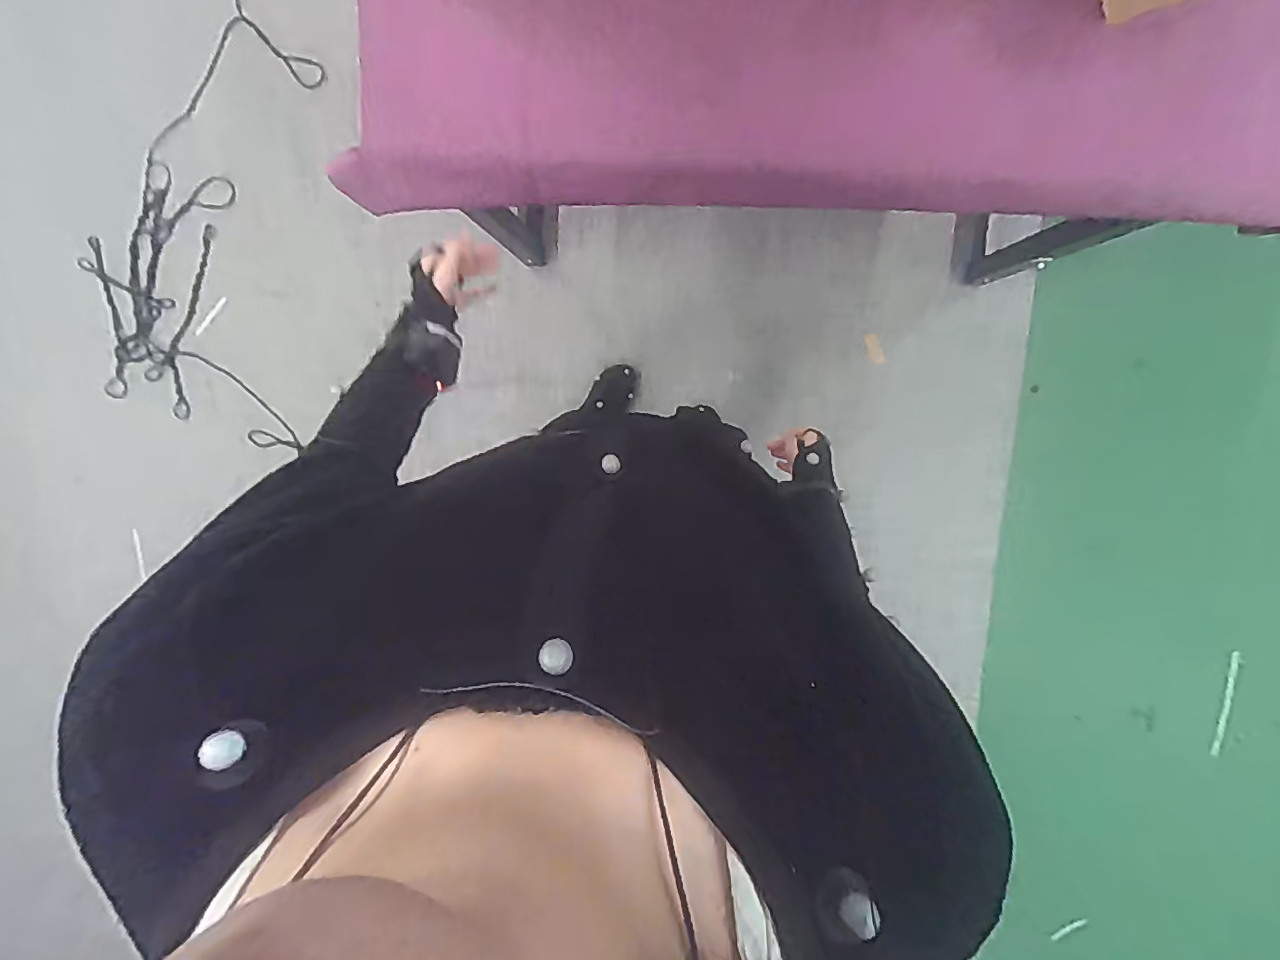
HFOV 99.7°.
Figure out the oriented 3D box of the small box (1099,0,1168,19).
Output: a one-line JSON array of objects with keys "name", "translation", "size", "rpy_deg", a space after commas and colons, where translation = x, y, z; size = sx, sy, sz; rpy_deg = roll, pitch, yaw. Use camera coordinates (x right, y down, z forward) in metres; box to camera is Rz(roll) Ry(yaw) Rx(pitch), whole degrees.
[{"name": "small box", "translation": [0.605, -0.632, 0.552], "size": [0.179, 0.176, 0.168], "rpy_deg": [-17, 97, 6]}]
